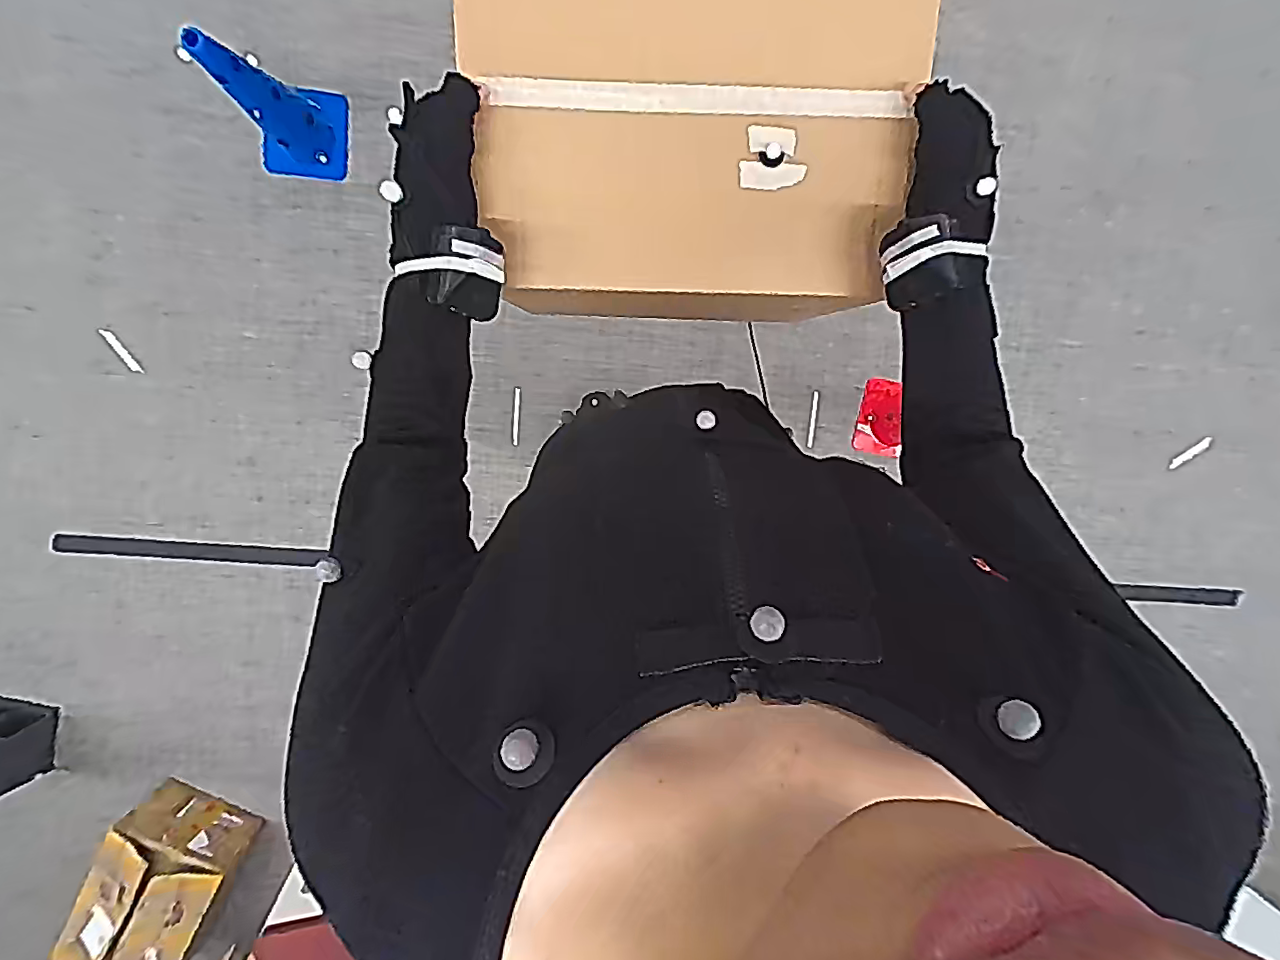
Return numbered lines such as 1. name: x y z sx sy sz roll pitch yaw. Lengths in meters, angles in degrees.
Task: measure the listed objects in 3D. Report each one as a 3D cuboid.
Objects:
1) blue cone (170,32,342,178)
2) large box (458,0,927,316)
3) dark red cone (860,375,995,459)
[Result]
1. blue cone: -0.824 -0.820 1.161 0.192 0.380 0.193 7 98 -2
2. large box: 0.038 -0.361 0.616 0.408 0.320 0.320 1 102 -3
3. dark red cone: 0.697 -0.140 1.276 0.201 0.394 0.202 10 98 -2
